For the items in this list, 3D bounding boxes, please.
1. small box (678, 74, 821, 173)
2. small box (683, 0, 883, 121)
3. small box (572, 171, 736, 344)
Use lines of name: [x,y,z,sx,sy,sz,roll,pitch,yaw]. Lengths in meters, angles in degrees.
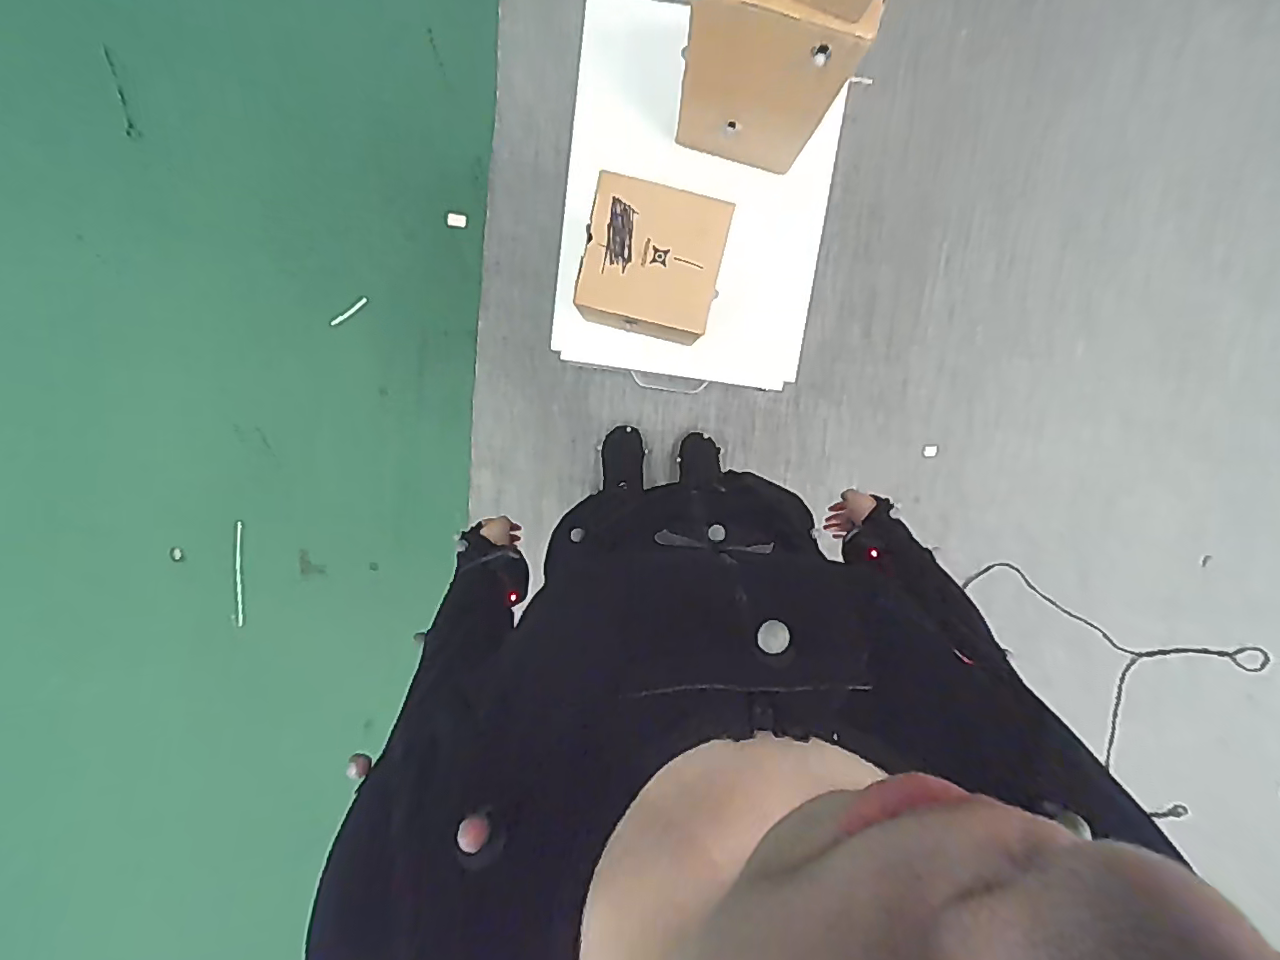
small box: [0.154,-0.540,0.718,0.179,0.176,0.168,15,99,-2]
small box: [0.149,-0.510,0.558,0.179,0.176,0.168,14,99,-2]
small box: [0.016,-0.295,0.758,0.179,0.176,0.168,13,98,-3]
